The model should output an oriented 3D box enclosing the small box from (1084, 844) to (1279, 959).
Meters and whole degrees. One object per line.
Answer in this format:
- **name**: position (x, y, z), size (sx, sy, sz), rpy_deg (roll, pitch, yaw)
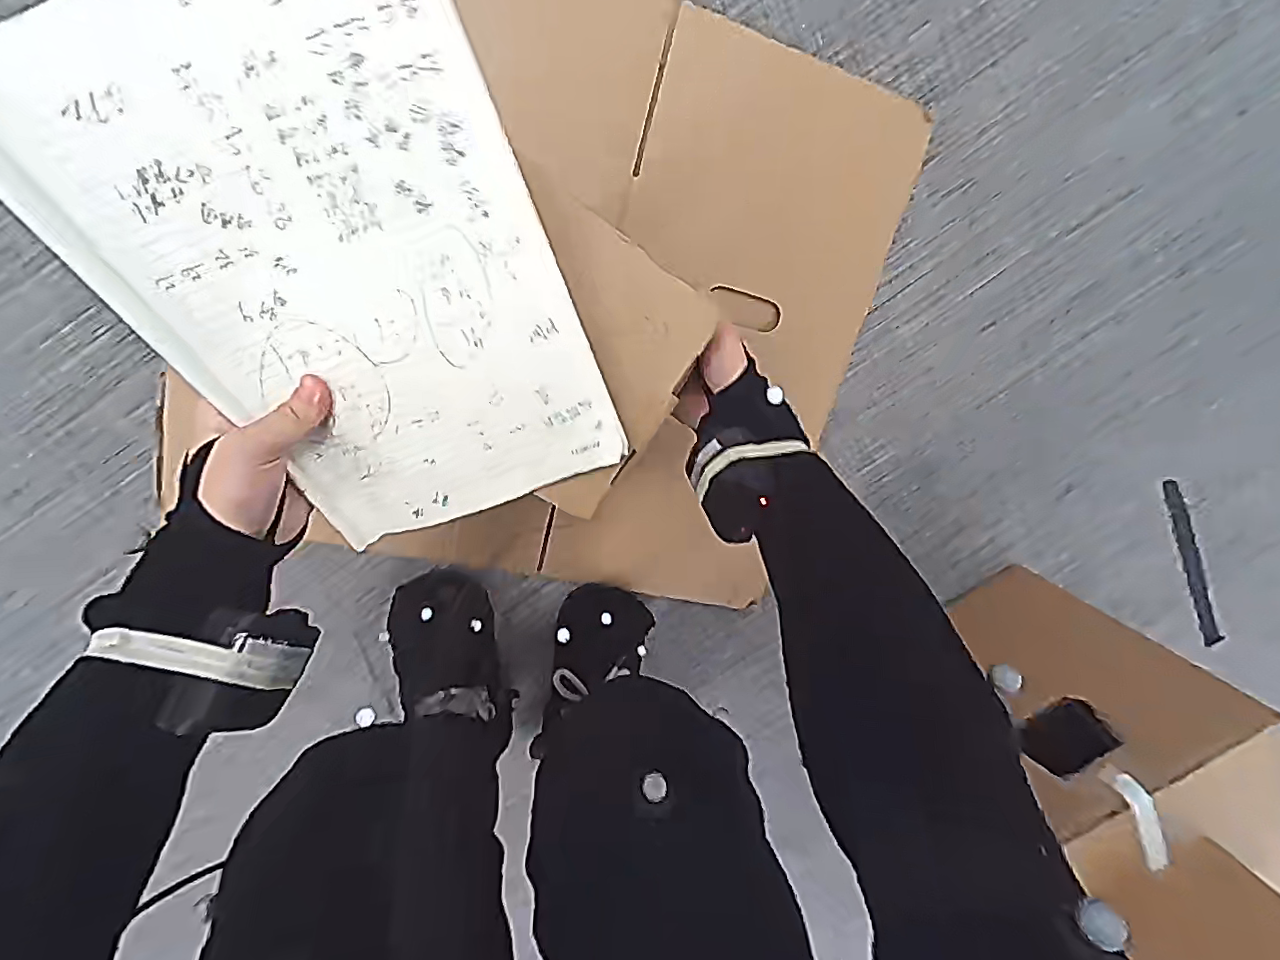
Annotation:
- **small box**: position (0.558, 0.490, 0.495), size (0.179, 0.176, 0.168), rpy_deg (-37, 112, 3)
